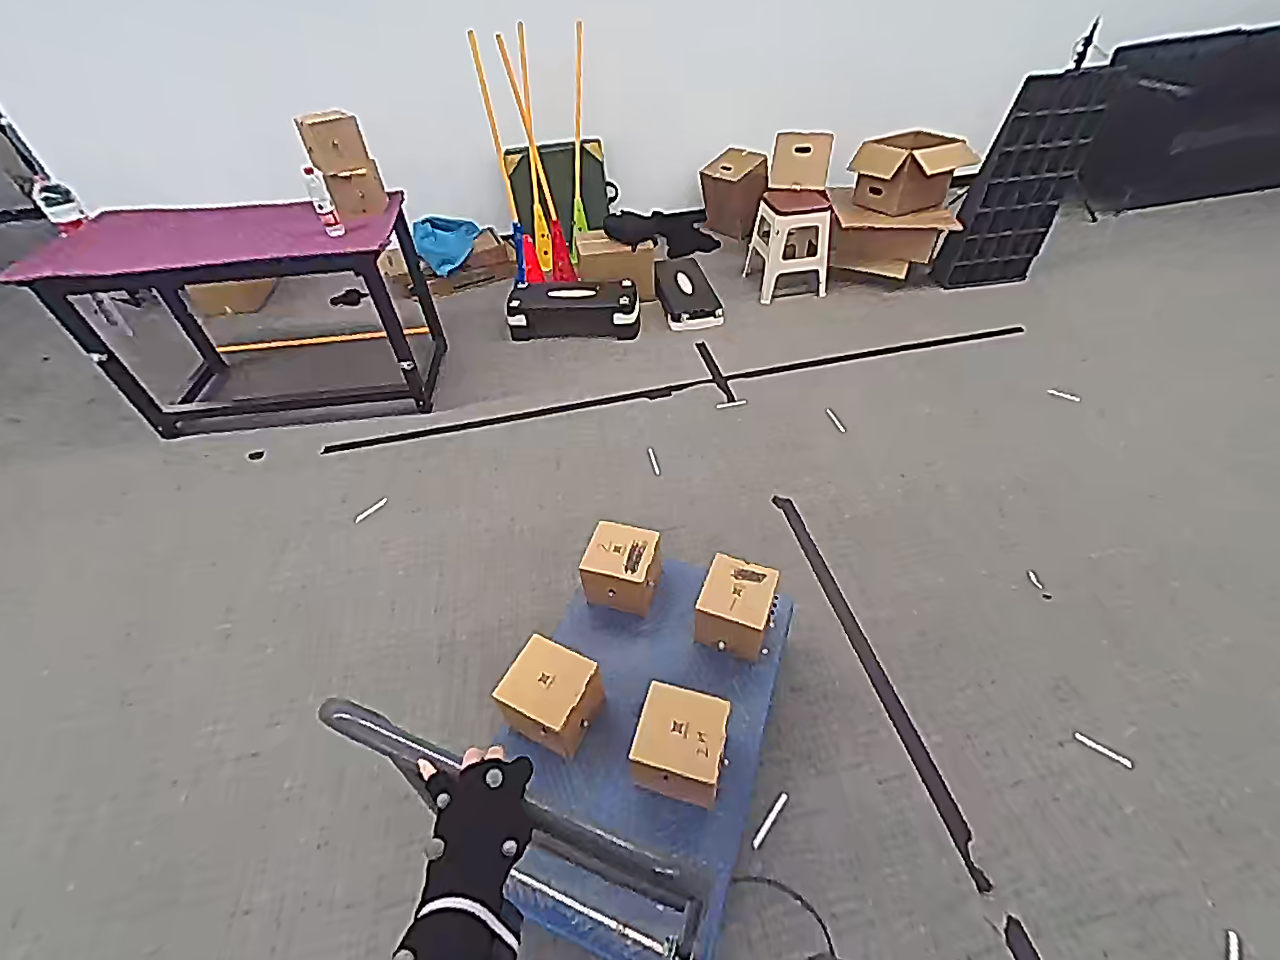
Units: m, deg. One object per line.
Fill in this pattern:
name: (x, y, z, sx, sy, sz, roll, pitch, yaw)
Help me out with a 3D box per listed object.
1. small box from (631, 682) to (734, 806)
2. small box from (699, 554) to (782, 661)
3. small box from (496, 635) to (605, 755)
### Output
small box: (0.092, 0.560, 1.143, 0.179, 0.176, 0.168, 11, 47, 14)
small box: (0.249, 0.323, 1.367, 0.168, 0.176, 0.179, 15, 49, 18)
small box: (-0.195, 0.493, 1.232, 0.179, 0.176, 0.168, 19, 49, 19)
